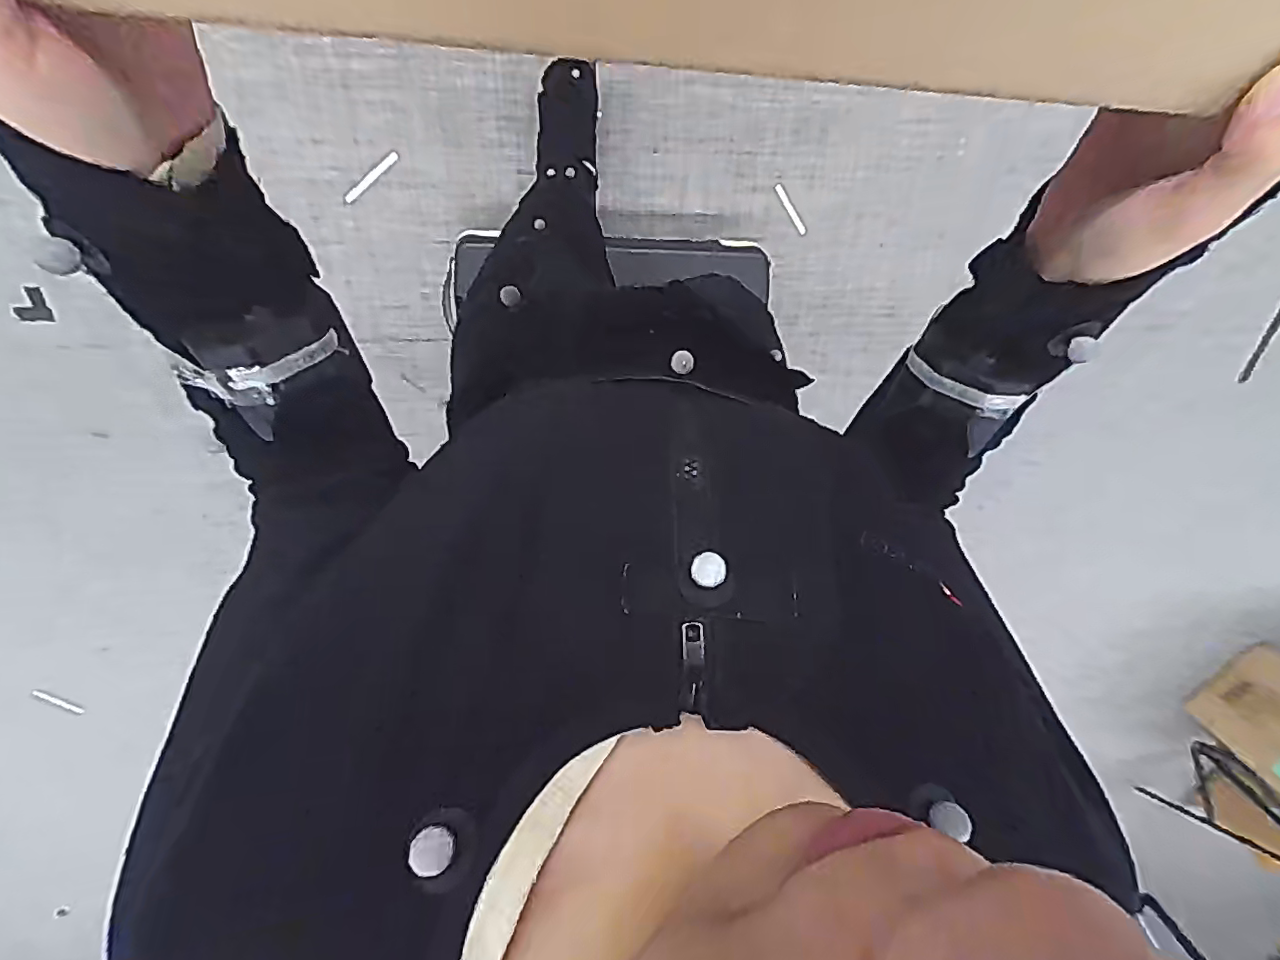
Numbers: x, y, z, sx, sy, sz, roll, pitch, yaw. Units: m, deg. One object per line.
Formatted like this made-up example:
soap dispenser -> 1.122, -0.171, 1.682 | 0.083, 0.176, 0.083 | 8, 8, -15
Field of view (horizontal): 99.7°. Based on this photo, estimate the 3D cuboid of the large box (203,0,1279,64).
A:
large box -> 0.035, -0.344, 0.116 | 0.408, 0.320, 0.320 | 0, 148, -6
